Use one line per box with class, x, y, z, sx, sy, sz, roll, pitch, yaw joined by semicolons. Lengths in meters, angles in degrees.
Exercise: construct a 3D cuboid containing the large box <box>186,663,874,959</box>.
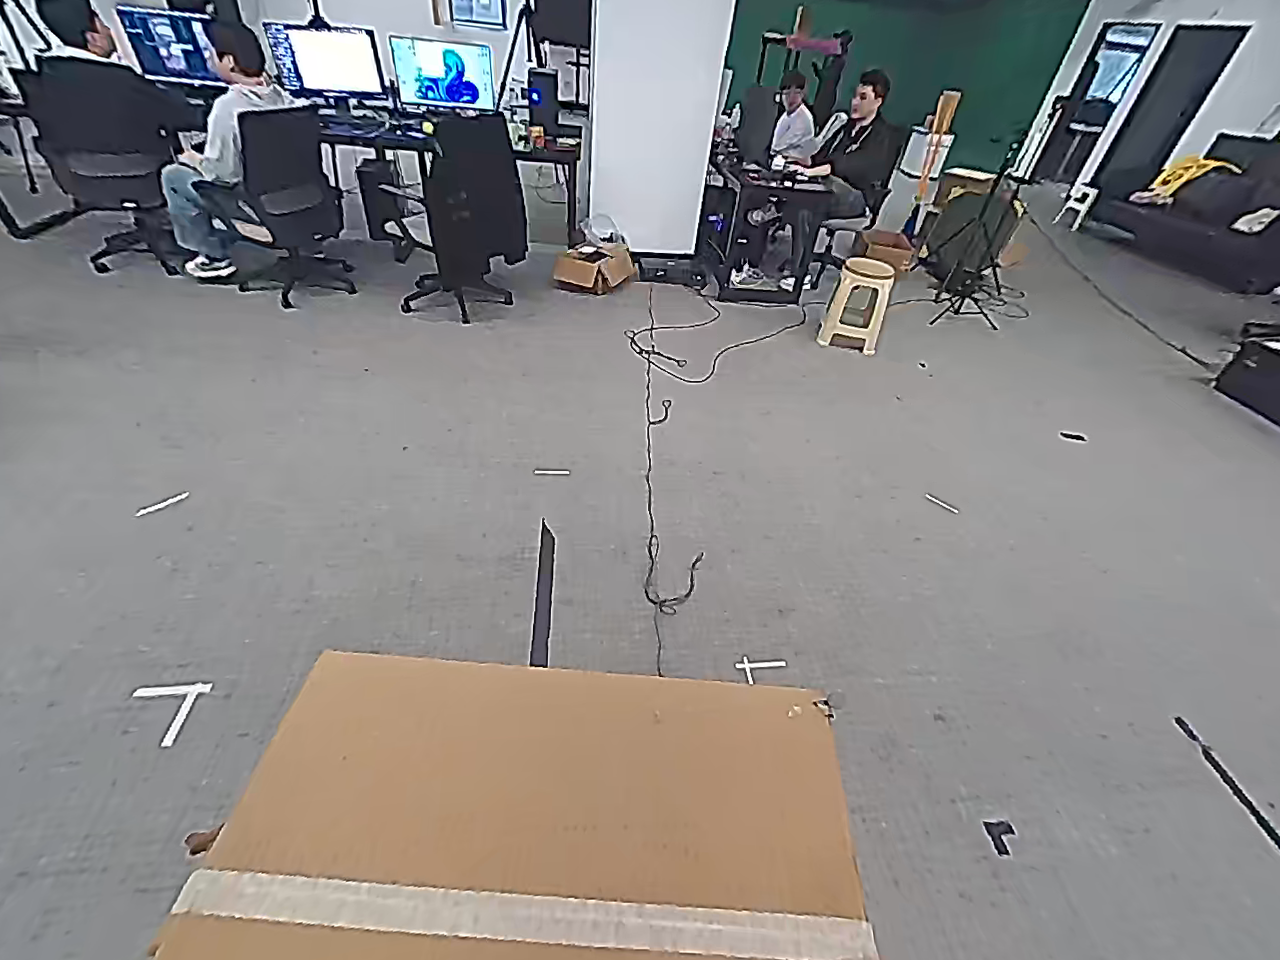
large box;-0.067;0.374;0.429;0.408;0.320;0.320;5;43;0
